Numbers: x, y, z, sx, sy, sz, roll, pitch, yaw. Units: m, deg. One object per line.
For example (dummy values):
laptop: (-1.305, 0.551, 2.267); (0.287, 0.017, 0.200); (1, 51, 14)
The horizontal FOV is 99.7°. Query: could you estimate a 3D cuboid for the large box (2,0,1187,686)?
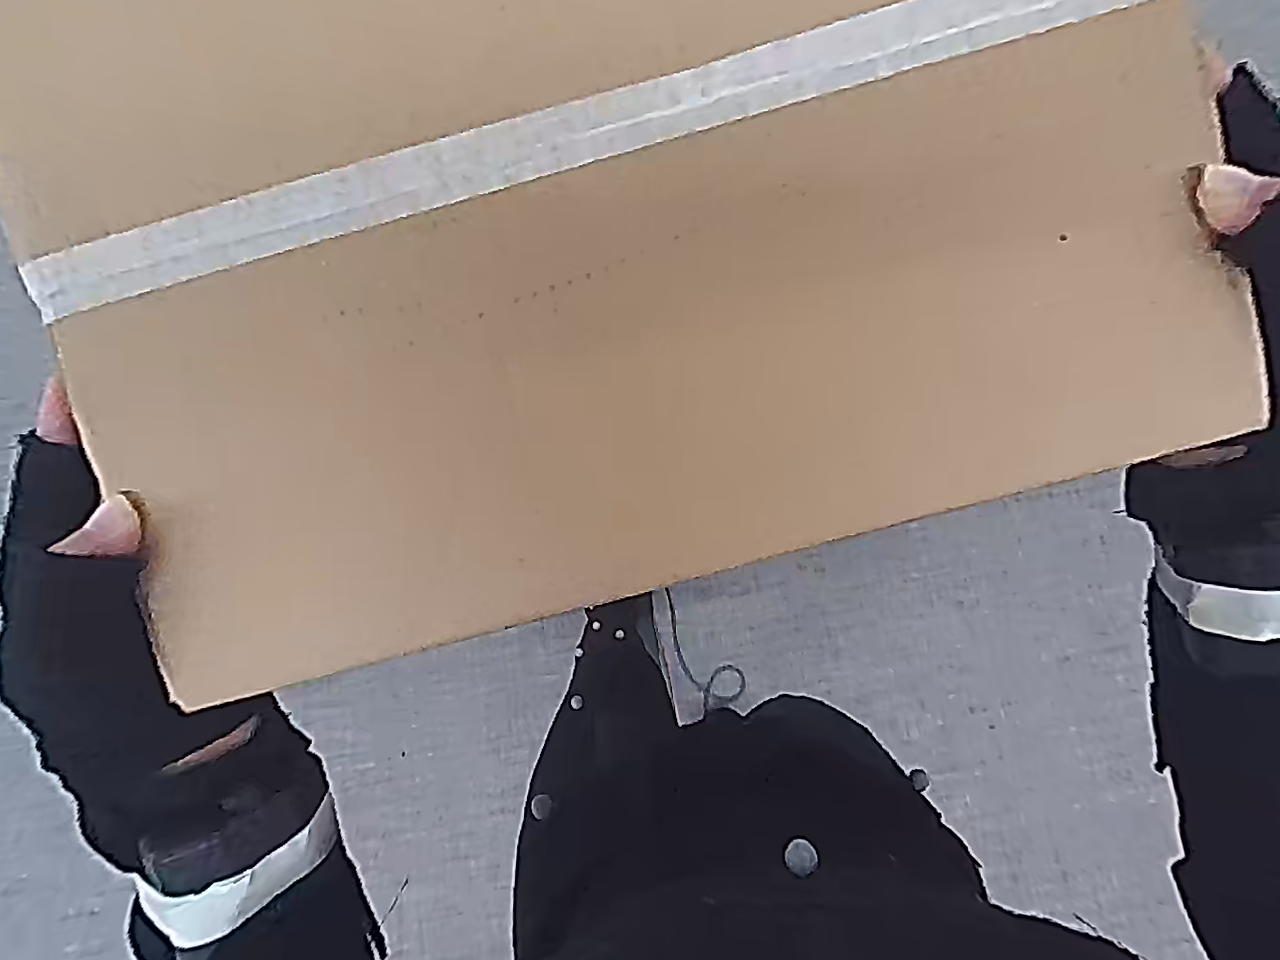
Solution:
large box: (-0.020, -0.121, 0.356); (0.408, 0.320, 0.320); (-16, 93, 1)
